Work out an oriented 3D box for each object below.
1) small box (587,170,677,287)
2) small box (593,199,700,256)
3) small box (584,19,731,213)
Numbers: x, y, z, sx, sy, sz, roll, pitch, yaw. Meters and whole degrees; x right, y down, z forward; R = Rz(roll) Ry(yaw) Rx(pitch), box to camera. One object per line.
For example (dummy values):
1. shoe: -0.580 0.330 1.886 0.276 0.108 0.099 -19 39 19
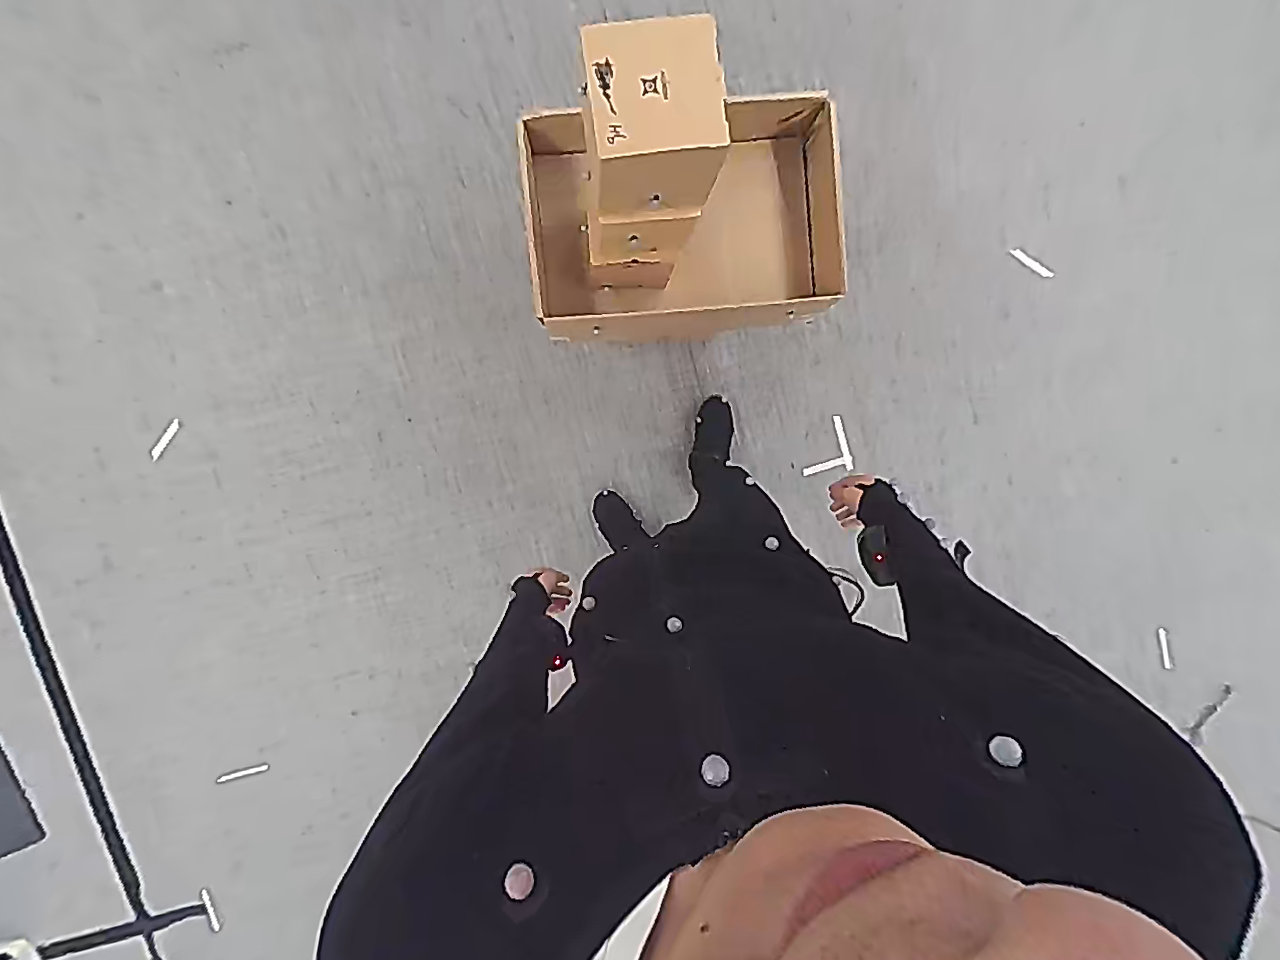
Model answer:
1. small box: -0.019 -0.497 1.091 0.168 0.176 0.179 -3 93 -5
2. small box: 0.003 -0.499 0.930 0.168 0.176 0.179 -7 93 -5
3. small box: 0.015 -0.501 0.766 0.179 0.176 0.168 -8 93 -5
